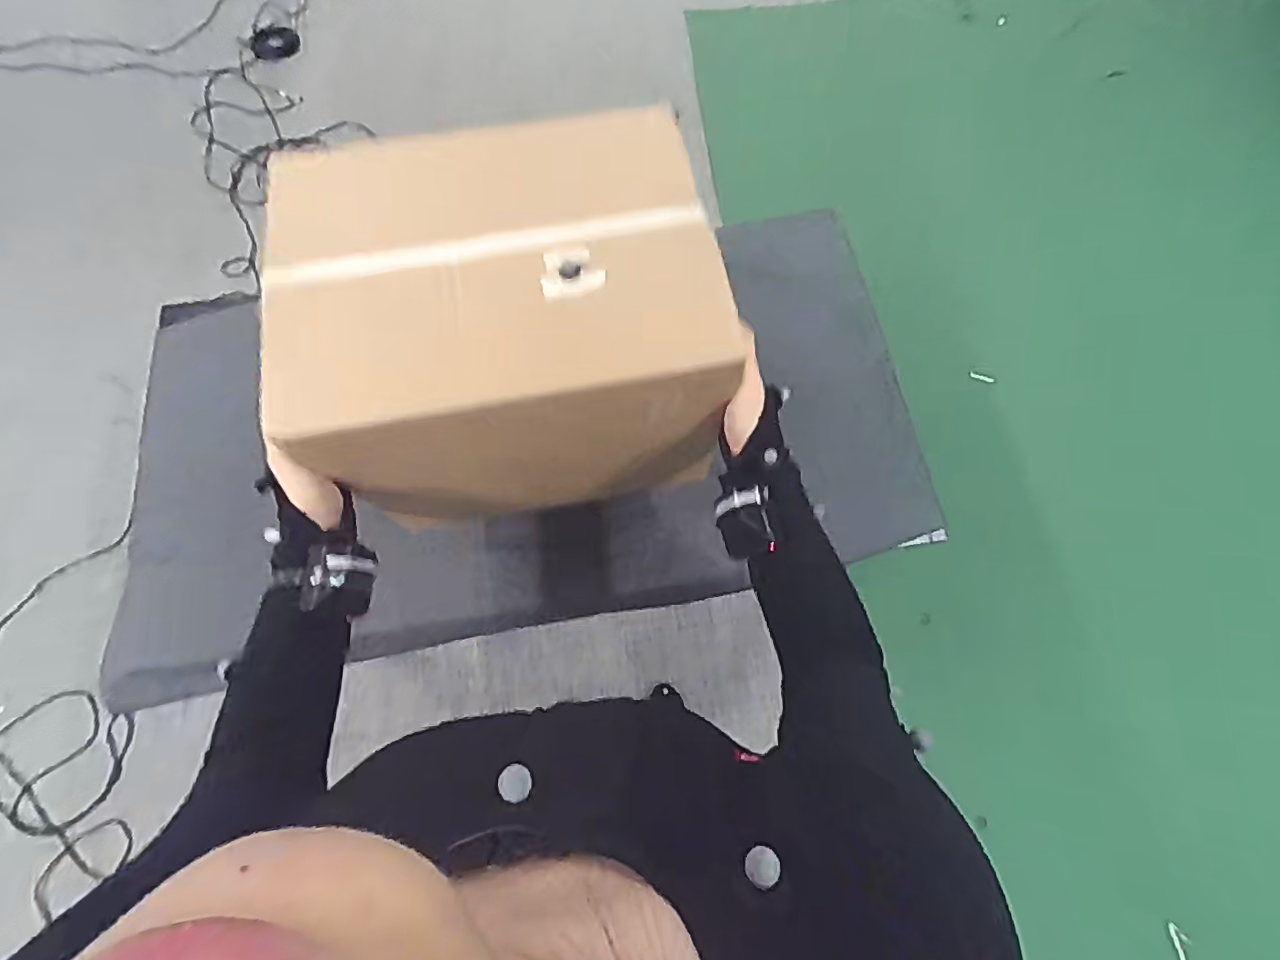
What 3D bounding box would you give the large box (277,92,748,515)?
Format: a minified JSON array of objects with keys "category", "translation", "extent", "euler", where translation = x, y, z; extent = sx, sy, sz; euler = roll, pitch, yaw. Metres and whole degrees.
[{"category":"large box","translation":[-0.132,-0.177,0.638],"extent":[0.408,0.320,0.320],"euler":[-11,72,-4]}]
